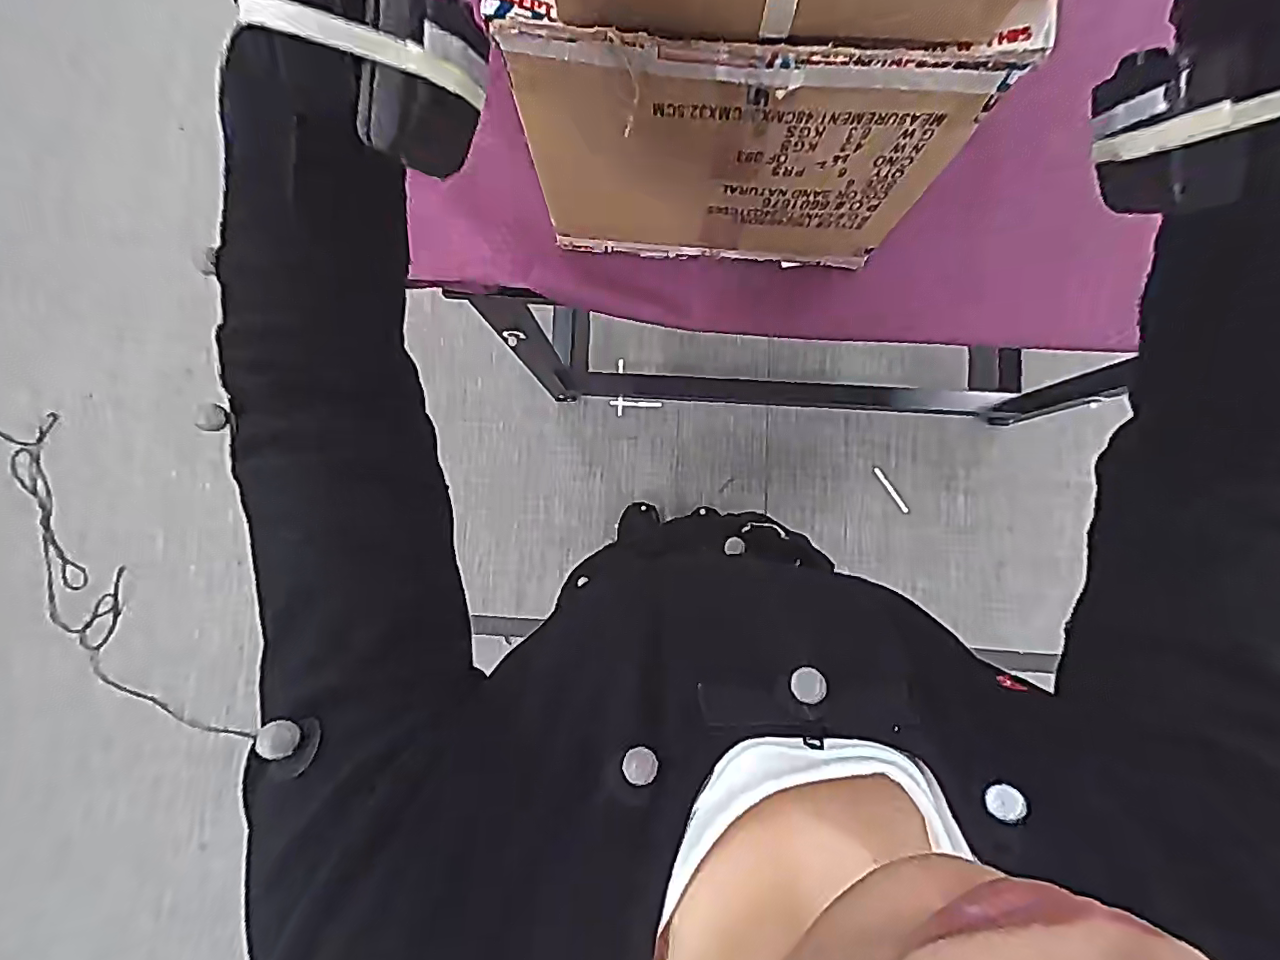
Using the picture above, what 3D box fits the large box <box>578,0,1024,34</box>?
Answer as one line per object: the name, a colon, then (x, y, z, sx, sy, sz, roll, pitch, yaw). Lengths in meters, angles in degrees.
large box: (0.110, -0.525, 0.246, 0.320, 0.320, 0.408, 2, 87, 3)
